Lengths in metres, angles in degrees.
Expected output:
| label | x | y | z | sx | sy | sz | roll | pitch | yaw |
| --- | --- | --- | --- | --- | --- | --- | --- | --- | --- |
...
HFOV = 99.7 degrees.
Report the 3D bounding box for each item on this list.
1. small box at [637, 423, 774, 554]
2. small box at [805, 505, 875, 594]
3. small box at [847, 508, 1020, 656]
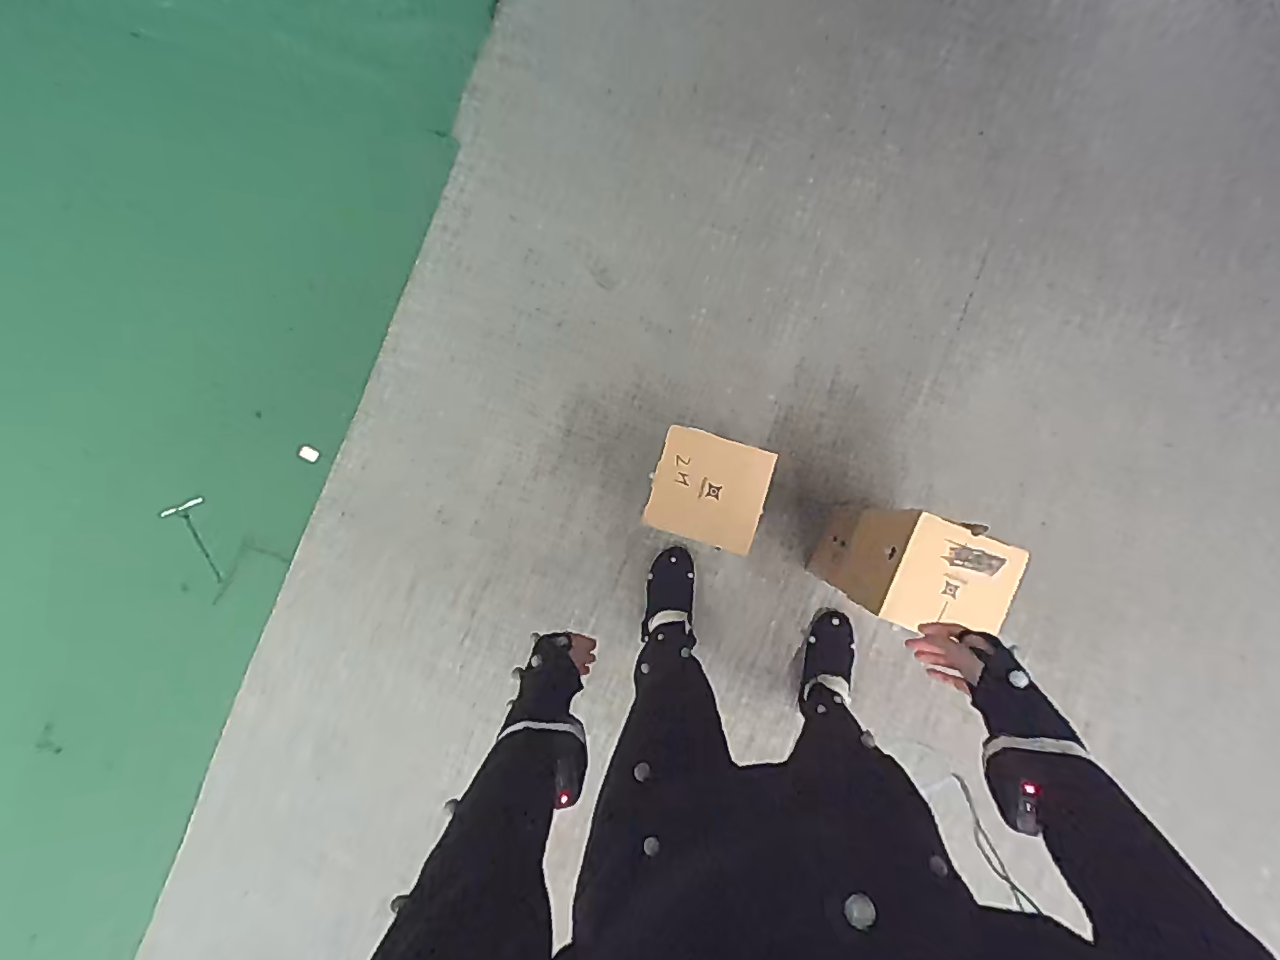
| label | x | y | z | sx | sy | sz | roll | pitch | yaw |
| --- | --- | --- | --- | --- | --- | --- | --- | --- | --- |
| small box | 0.107 | 0.015 | 0.916 | 0.179 | 0.176 | 0.168 | 17 | 88 | 6 |
| small box | 0.487 | 0.165 | 1.210 | 0.168 | 0.176 | 0.179 | 22 | 90 | 4 |
| small box | 0.462 | 0.154 | 0.883 | 0.168 | 0.176 | 0.179 | 23 | 90 | 6 |
